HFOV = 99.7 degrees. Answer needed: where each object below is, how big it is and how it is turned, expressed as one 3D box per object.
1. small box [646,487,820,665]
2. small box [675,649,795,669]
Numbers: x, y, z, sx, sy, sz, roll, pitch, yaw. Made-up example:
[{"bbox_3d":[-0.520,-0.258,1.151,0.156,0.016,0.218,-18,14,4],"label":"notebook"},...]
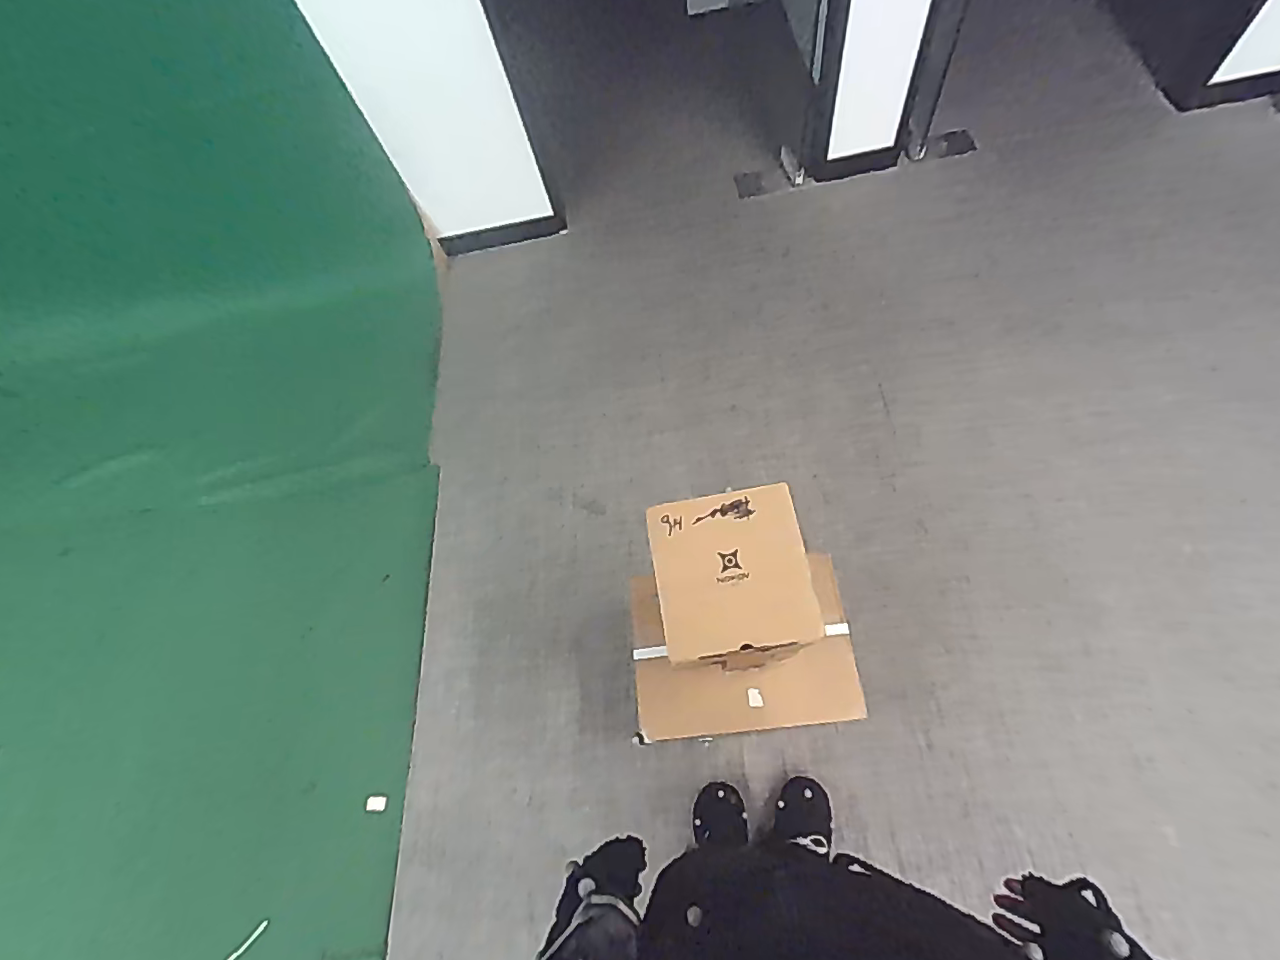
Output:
[{"bbox_3d":[0.108,0.126,0.666,0.168,0.176,0.179,-10,70,4],"label":"small box"},{"bbox_3d":[0.128,0.187,0.817,0.168,0.176,0.179,-9,68,5],"label":"small box"}]
